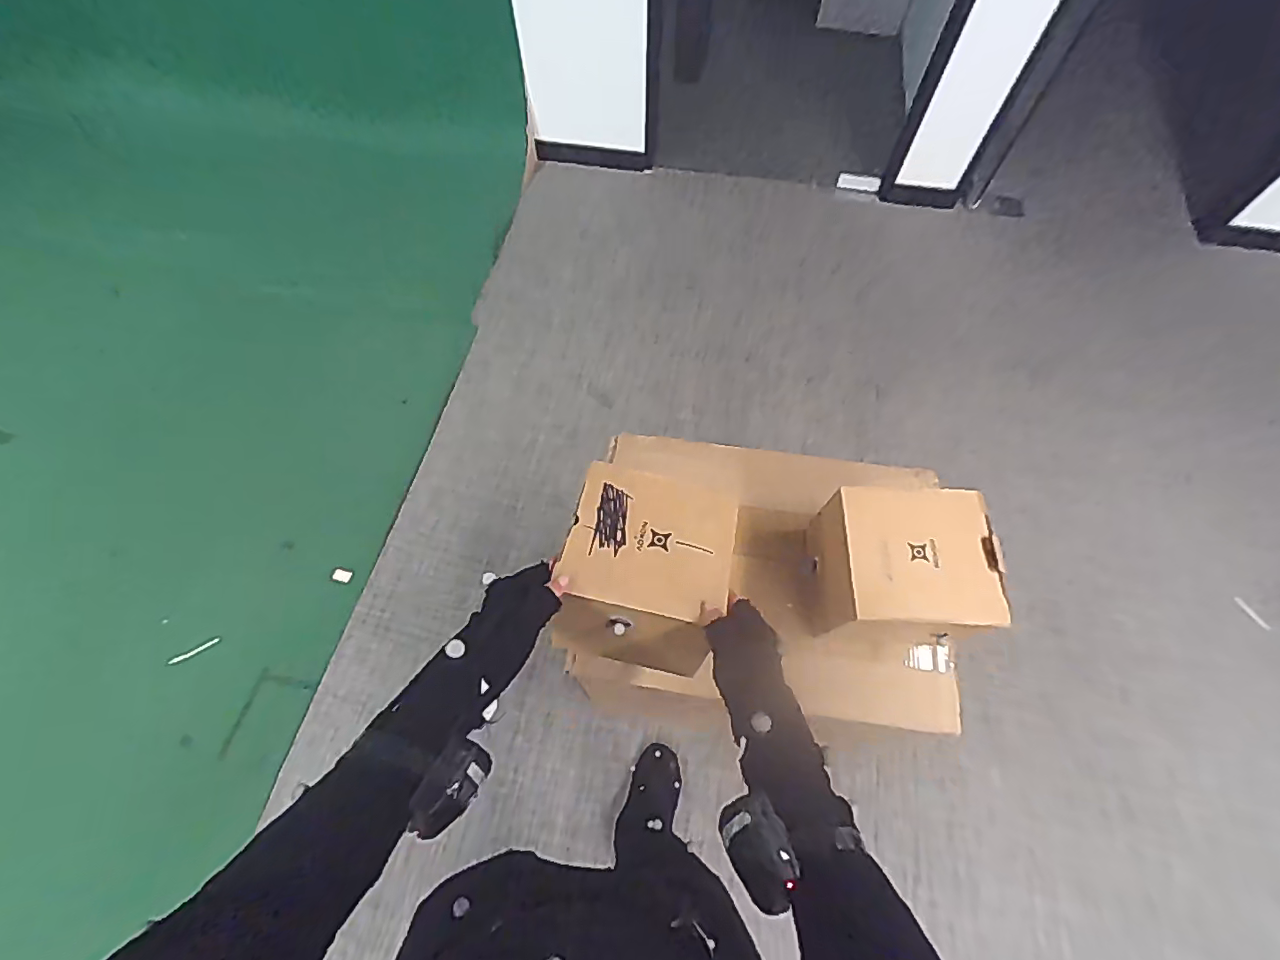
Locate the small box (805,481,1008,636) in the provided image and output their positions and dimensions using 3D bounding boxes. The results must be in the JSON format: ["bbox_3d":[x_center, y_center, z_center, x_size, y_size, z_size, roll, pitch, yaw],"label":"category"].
[{"bbox_3d":[0.332,0.109,0.713,0.179,0.176,0.168,0,66,2],"label":"small box"}]

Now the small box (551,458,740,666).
[{"bbox_3d":[0.006,0.102,0.633,0.179,0.176,0.168,13,55,2],"label":"small box"}]
